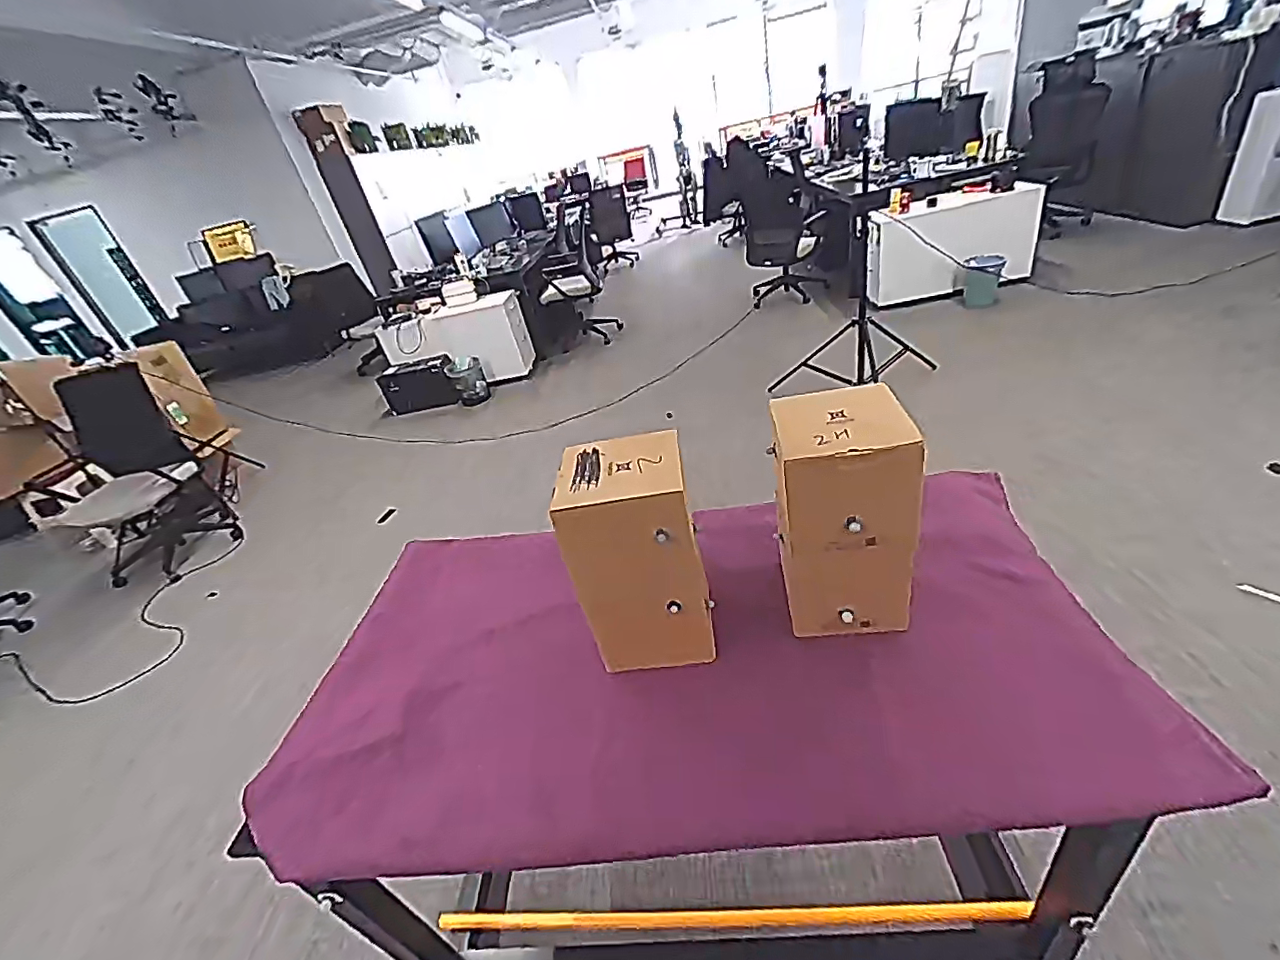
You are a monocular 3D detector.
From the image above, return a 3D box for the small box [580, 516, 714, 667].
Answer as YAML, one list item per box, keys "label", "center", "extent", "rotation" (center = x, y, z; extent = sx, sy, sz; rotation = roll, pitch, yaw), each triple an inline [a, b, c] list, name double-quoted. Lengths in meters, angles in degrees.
- label: "small box"
  center: [0.017, 0.183, 0.875]
  extent: [0.179, 0.176, 0.168]
  rotation: [-9, 32, 8]

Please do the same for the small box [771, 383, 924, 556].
- label: "small box"
  center: [0.281, -0.016, 0.764]
  extent: [0.168, 0.176, 0.179]
  rotation: [-8, 33, 11]

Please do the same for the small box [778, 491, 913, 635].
- label: "small box"
  center: [0.313, 0.120, 0.853]
  extent: [0.168, 0.176, 0.179]
  rotation: [-7, 33, 11]
